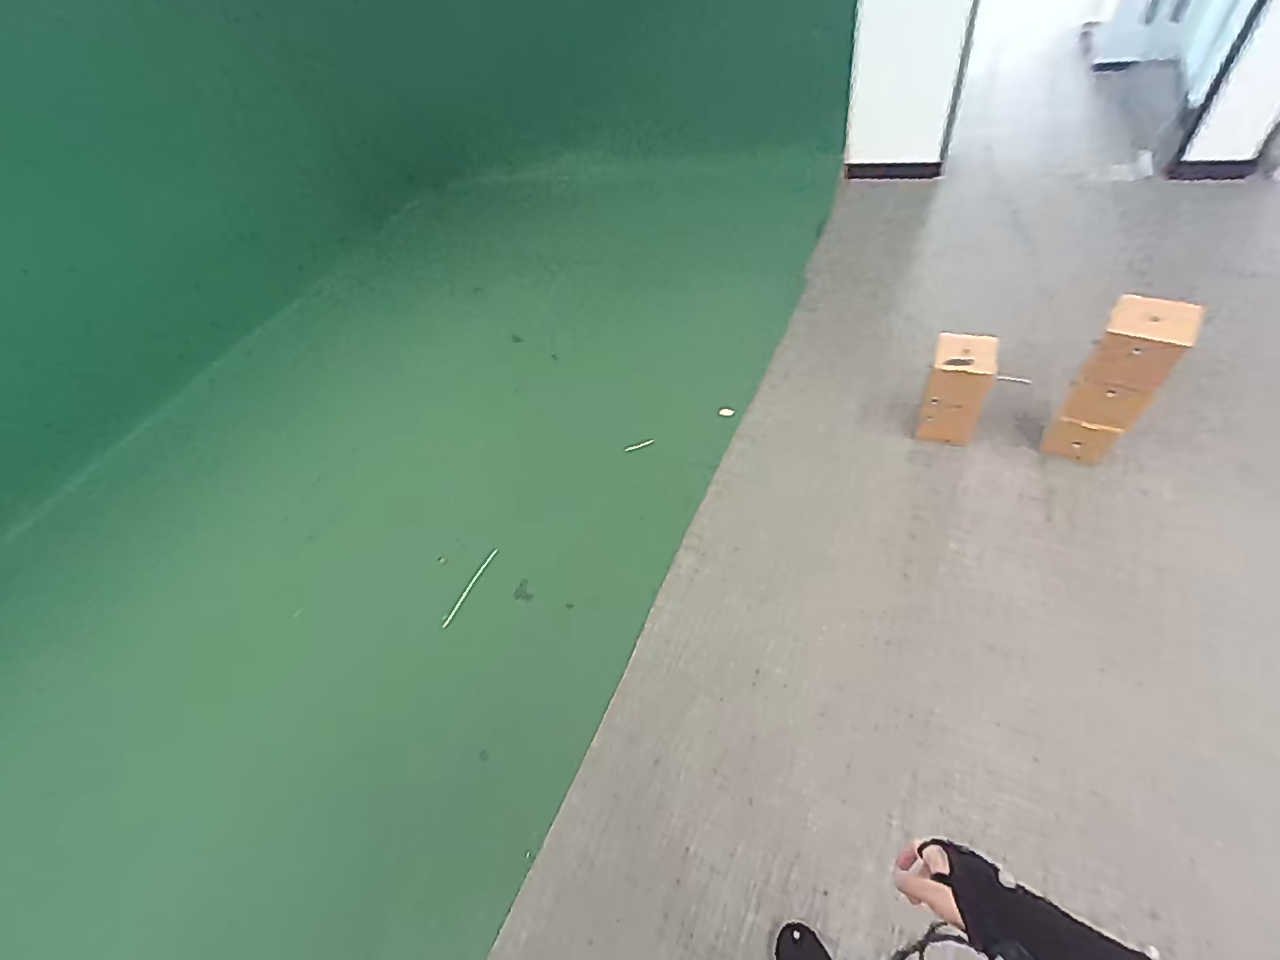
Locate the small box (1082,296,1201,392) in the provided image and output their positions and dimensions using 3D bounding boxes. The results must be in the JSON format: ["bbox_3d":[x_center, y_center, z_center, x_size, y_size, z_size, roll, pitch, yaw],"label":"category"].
[{"bbox_3d":[1.340,-0.363,1.456,0.179,0.176,0.168,25,64,30],"label":"small box"}]

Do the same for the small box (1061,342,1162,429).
[{"bbox_3d":[1.384,-0.273,1.585,0.179,0.176,0.168,20,61,28],"label":"small box"}]

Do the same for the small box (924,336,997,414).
[{"bbox_3d":[1.019,-0.335,1.729,0.168,0.176,0.179,13,57,23],"label":"small box"}]

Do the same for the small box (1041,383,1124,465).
[{"bbox_3d":[1.406,-0.174,1.712,0.168,0.176,0.179,22,63,28],"label":"small box"}]
